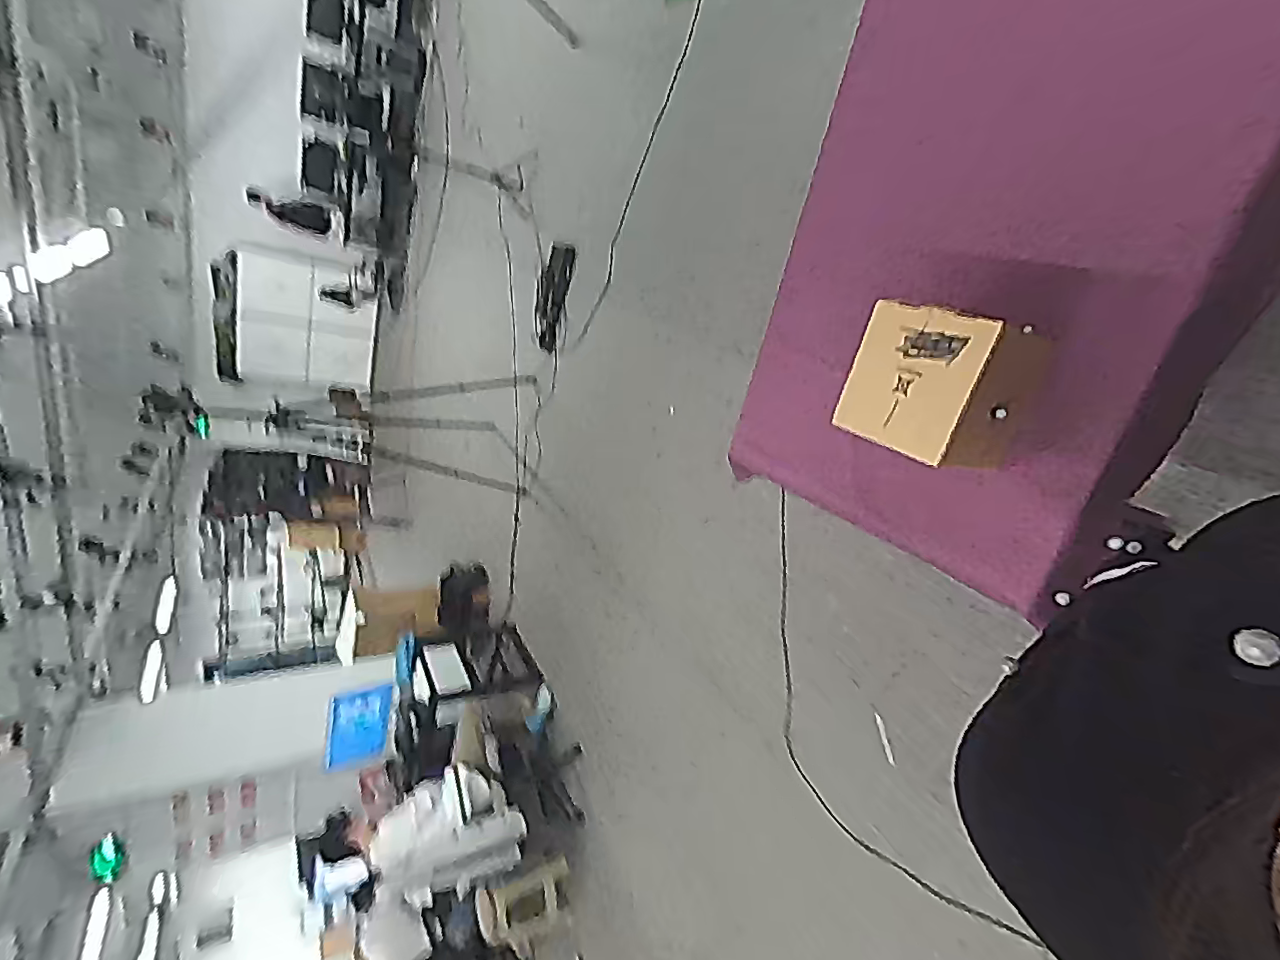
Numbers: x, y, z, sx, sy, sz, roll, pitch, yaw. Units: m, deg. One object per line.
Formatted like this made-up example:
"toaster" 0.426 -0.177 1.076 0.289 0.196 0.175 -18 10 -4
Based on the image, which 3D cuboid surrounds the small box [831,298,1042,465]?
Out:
"small box" 0.402 -0.130 0.734 0.168 0.176 0.179 38 120 49
